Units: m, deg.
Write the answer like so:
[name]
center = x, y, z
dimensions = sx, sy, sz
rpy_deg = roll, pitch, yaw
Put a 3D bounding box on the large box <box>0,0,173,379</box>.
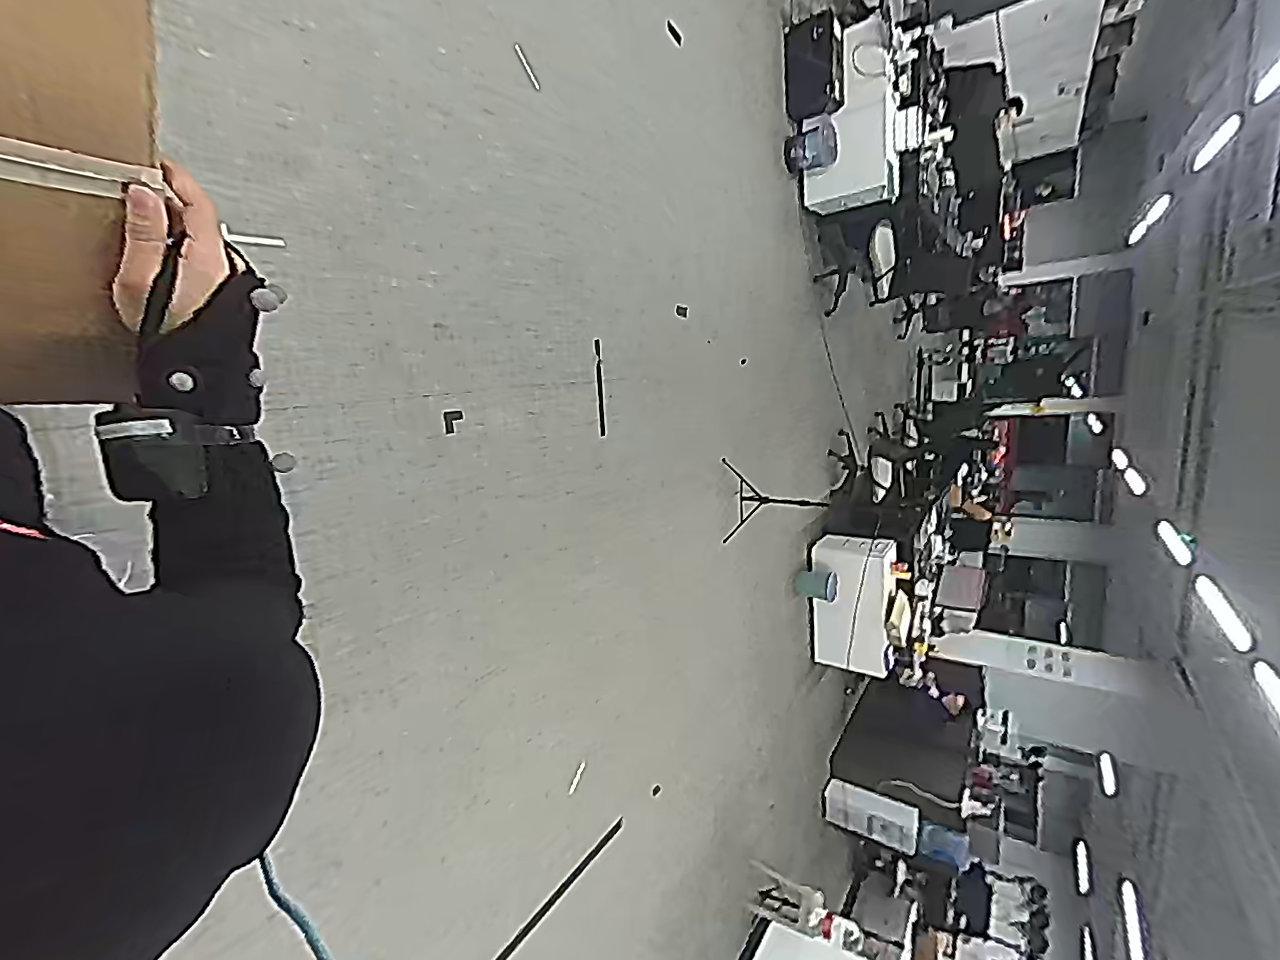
[large box]
center = -0.524, -0.260, 0.259
dimensions = 0.408, 0.320, 0.320
rpy_deg = -11, 140, -47
